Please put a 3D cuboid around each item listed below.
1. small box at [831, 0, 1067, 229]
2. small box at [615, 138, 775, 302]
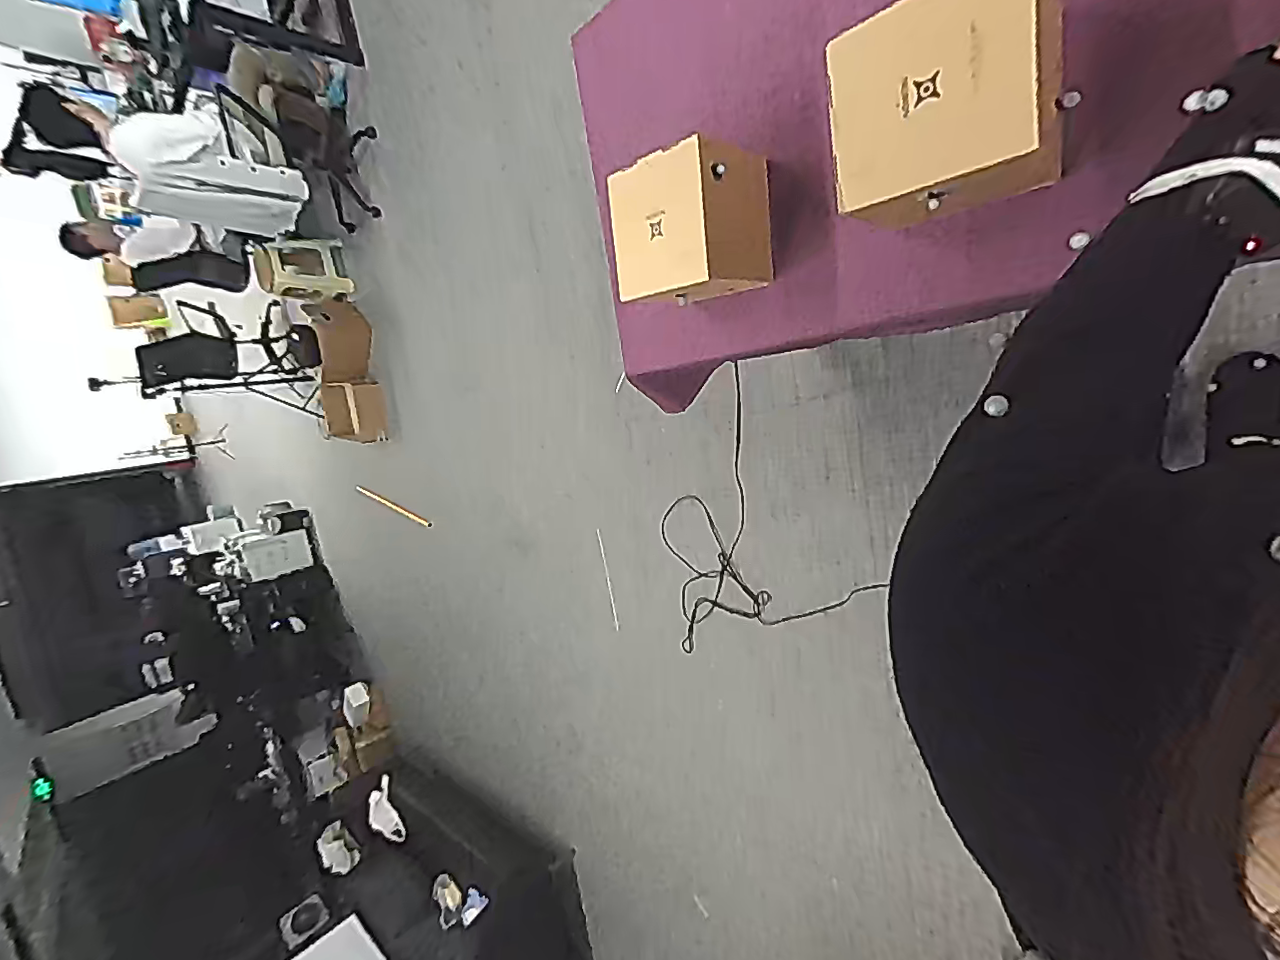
[{"bbox_3d":[0.322,-0.377,0.564,0.179,0.176,0.168,2,104,44],"label":"small box"},{"bbox_3d":[0.086,-0.366,0.800,0.168,0.176,0.179,4,104,44],"label":"small box"}]
